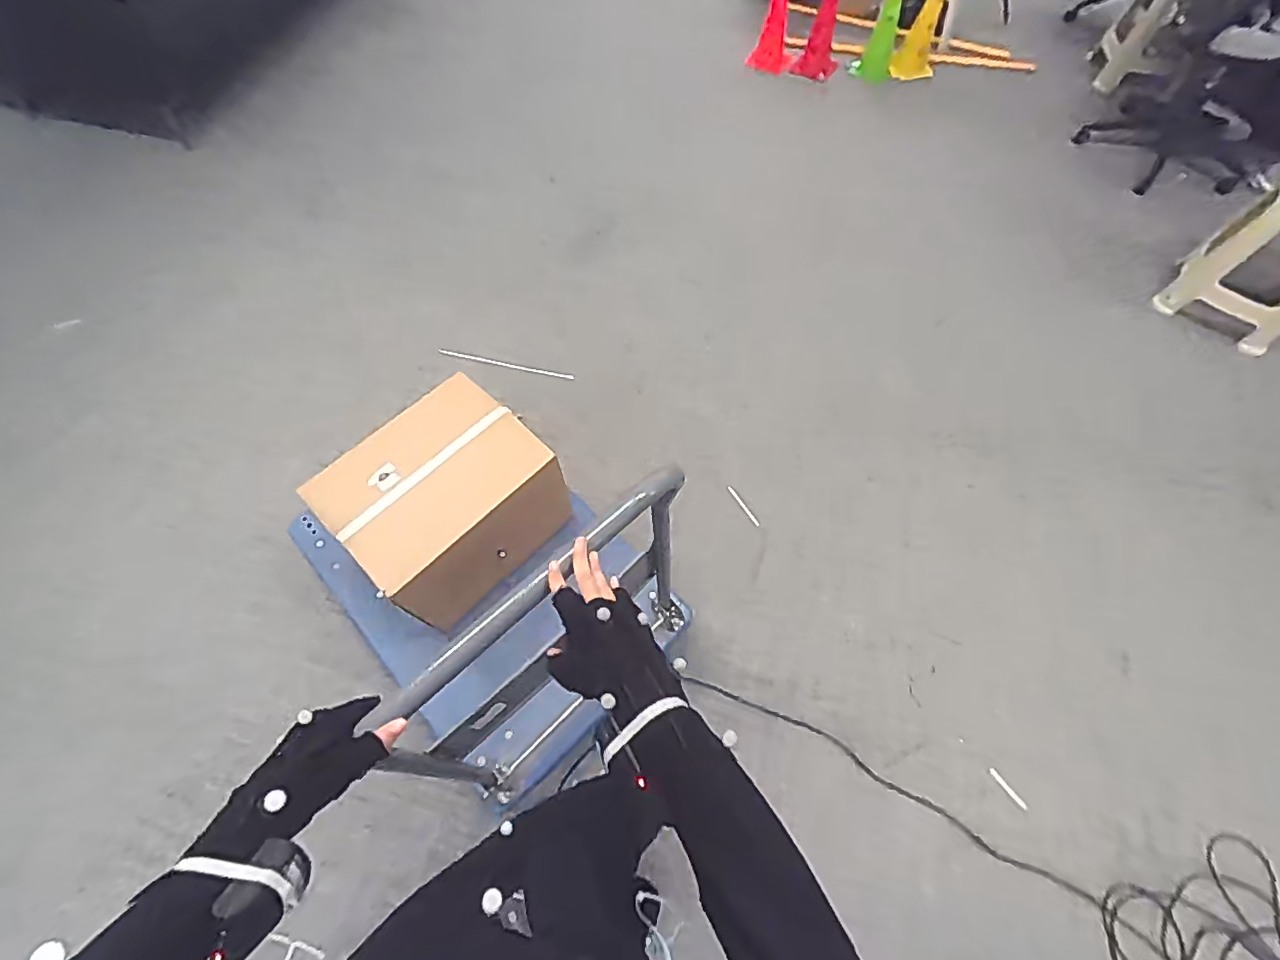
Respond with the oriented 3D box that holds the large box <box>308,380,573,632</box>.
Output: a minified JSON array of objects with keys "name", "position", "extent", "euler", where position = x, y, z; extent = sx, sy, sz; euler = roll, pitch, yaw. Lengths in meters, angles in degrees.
[{"name":"large box","position":[-0.407,0.065,1.207],"extent":[0.320,0.320,0.408],"euler":[40,71,20]}]
